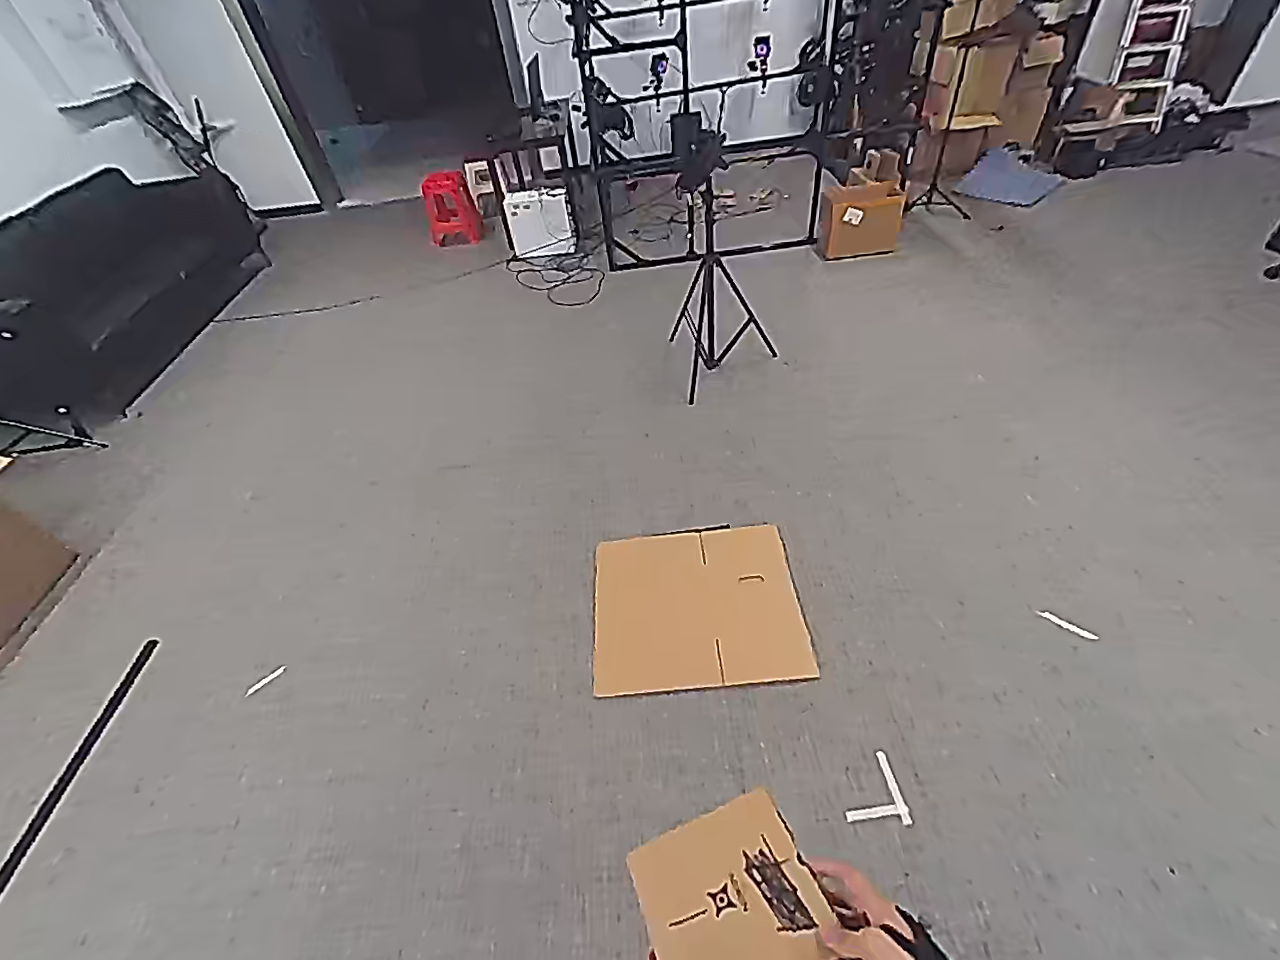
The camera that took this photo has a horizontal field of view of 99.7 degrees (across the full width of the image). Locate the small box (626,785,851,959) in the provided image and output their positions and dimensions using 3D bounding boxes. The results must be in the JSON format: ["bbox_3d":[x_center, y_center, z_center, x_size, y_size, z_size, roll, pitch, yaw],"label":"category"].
[{"bbox_3d":[0.103,0.484,0.588,0.179,0.176,0.168,-20,32,-11],"label":"small box"}]
